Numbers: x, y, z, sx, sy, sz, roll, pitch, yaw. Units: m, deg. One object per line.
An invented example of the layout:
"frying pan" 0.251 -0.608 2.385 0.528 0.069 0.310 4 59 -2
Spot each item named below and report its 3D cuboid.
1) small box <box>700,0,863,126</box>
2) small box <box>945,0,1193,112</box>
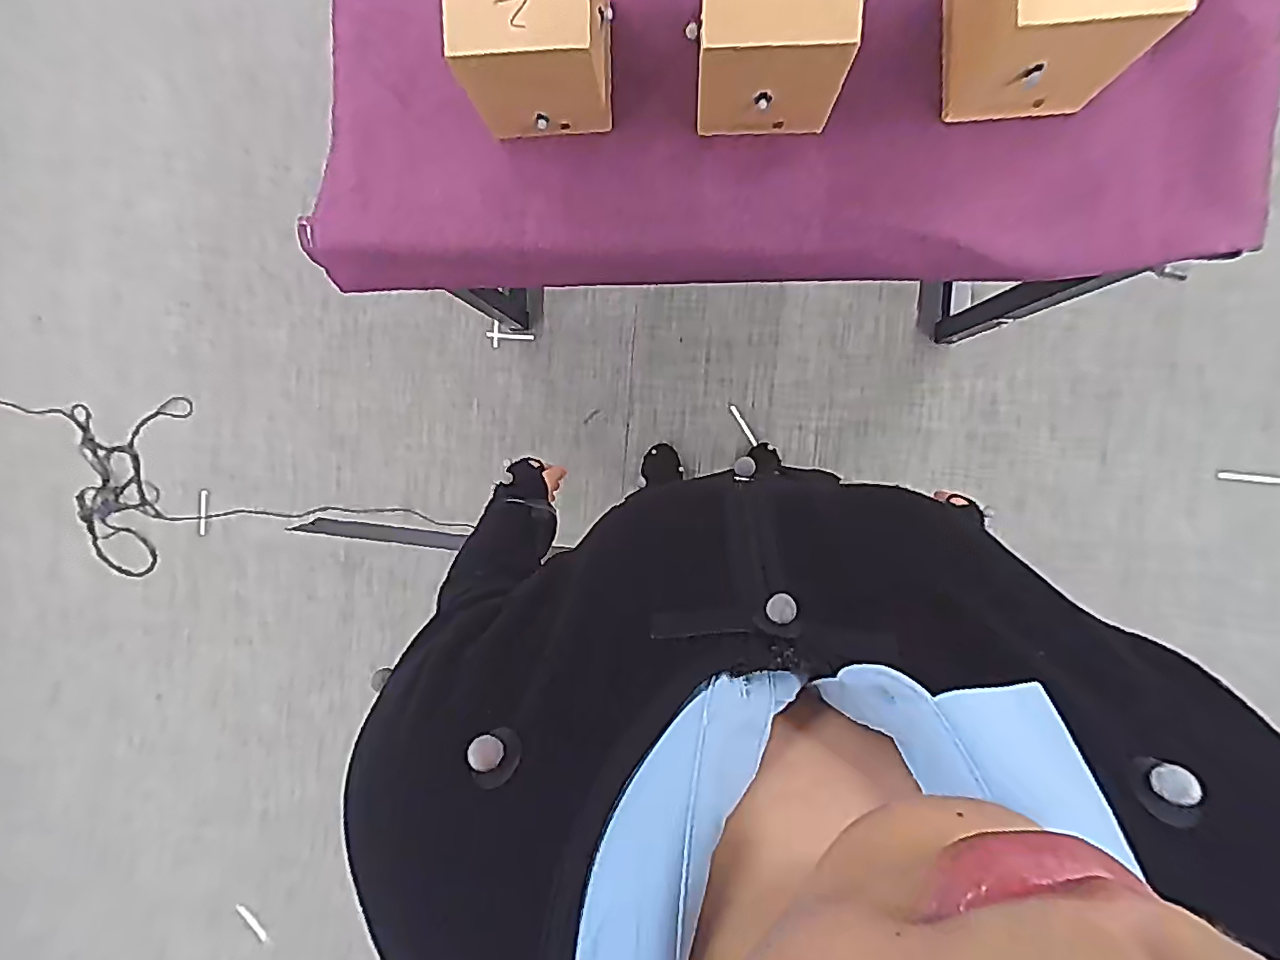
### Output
"small box" 0.159 -0.550 0.639 0.168 0.176 0.179 2 94 4
"small box" 0.467 -0.550 0.612 0.168 0.176 0.179 -1 93 6
